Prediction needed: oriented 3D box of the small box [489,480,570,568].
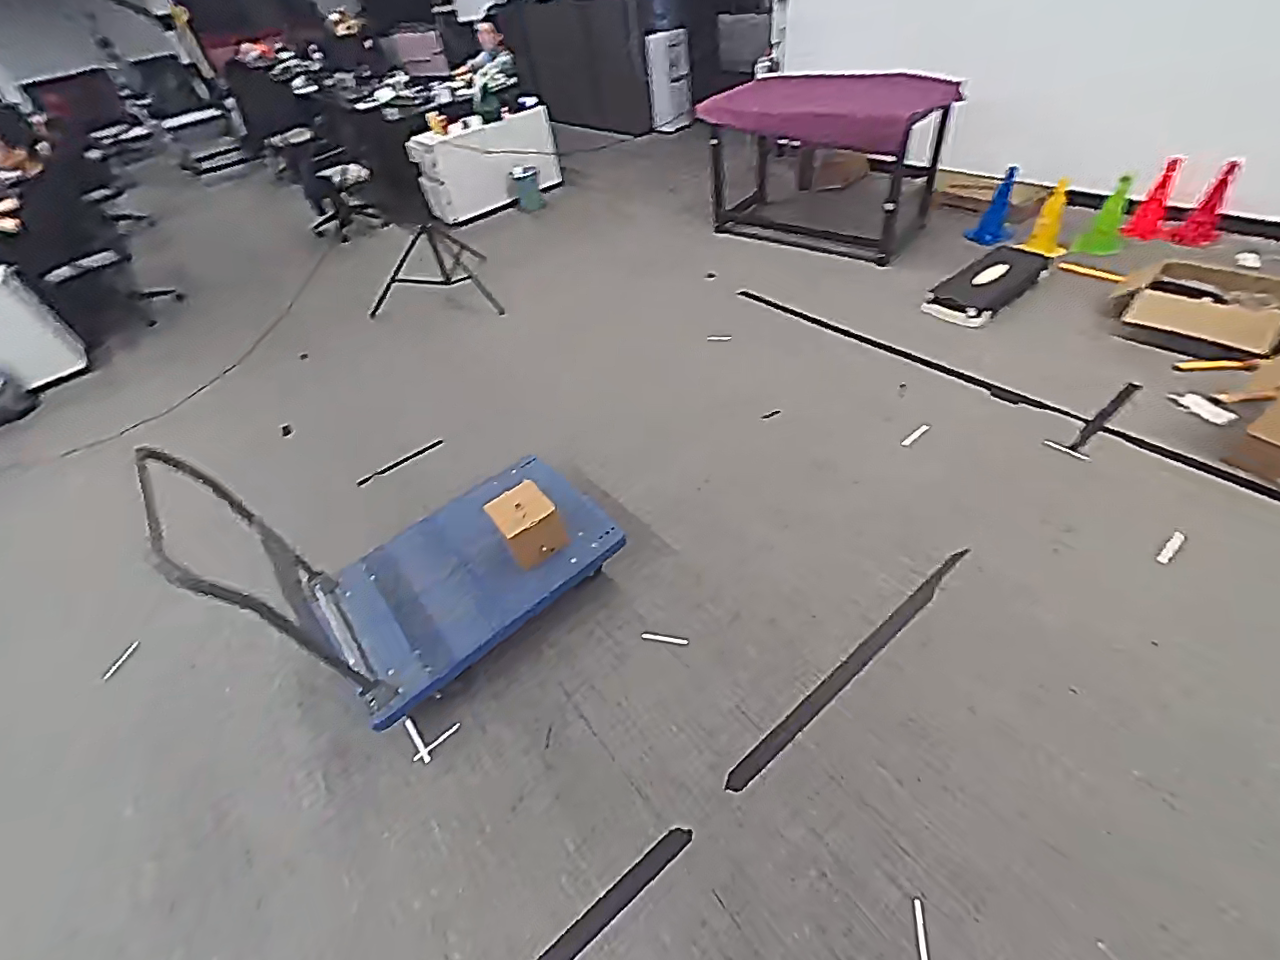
[{"bbox_3d":[-0.339,0.137,1.674,0.168,0.176,0.179,-32,49,-19],"label":"small box"}]
